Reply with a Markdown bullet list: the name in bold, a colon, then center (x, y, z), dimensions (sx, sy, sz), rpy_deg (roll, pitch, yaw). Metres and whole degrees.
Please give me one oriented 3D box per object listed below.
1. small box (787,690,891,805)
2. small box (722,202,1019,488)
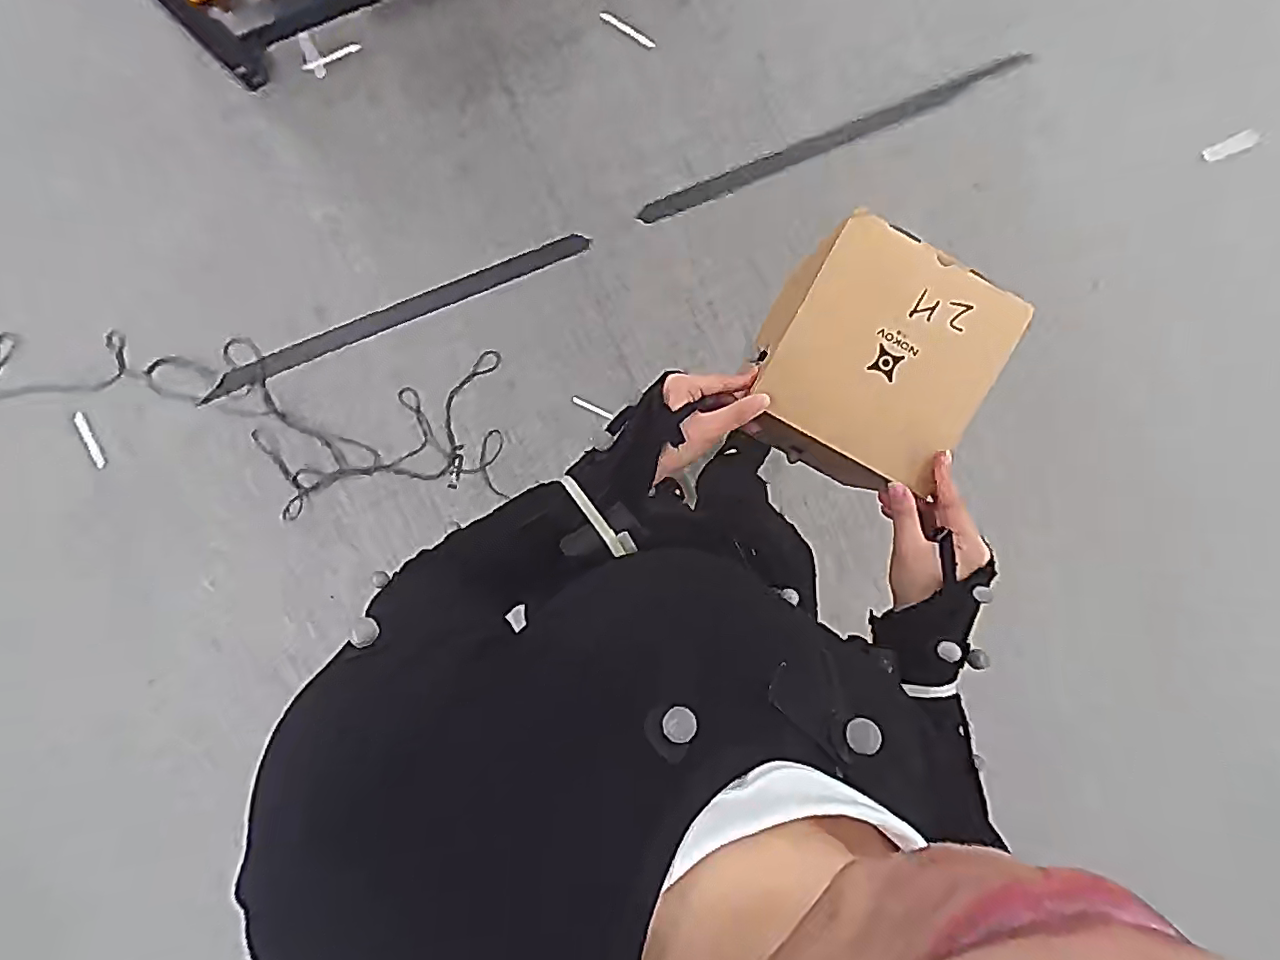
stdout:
- **small box**: center (0.494, 0.672, 1.375), dimensions (0.179, 0.176, 0.168), rpy_deg (-24, 95, -1)
- **small box**: center (0.190, -0.110, 0.508), dimensions (0.168, 0.176, 0.179), rpy_deg (27, 93, -3)
